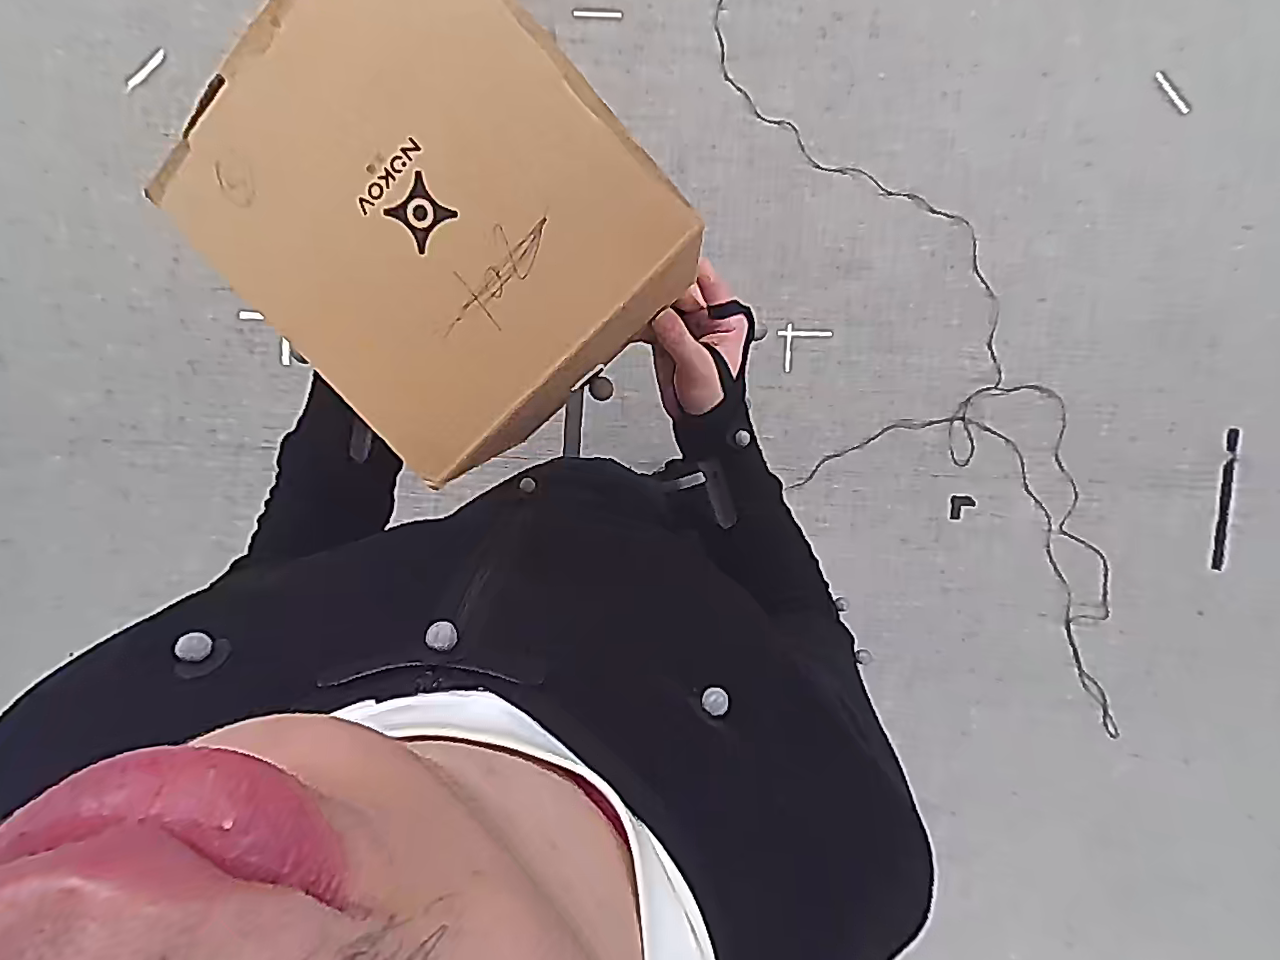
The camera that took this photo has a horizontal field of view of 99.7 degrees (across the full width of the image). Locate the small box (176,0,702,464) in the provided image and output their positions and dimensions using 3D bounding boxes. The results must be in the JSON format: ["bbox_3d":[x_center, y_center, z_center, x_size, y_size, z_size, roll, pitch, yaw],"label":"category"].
[{"bbox_3d":[-0.085,-0.136,0.311,0.168,0.176,0.179,-43,97,12],"label":"small box"}]
